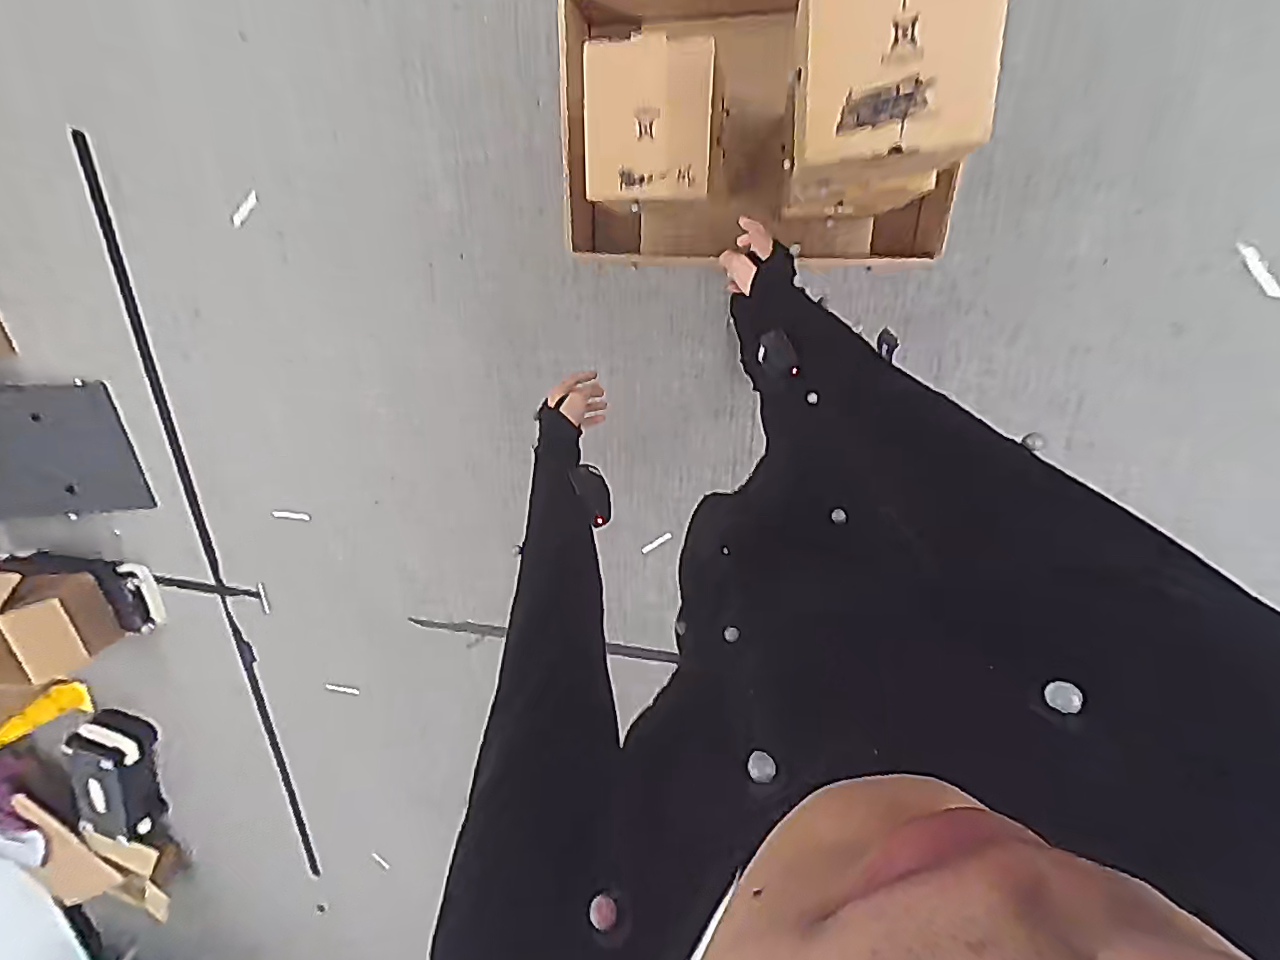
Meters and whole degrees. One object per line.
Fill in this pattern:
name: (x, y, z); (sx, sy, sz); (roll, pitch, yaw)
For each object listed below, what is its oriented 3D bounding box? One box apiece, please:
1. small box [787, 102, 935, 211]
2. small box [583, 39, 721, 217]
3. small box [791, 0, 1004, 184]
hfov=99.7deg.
small box: (0.286, -0.463, 0.712); (0.168, 0.176, 0.179); (2, 112, 11)
small box: (0.023, -0.478, 0.760); (0.168, 0.176, 0.179); (6, 110, 11)
small box: (0.248, -0.417, 0.559); (0.168, 0.176, 0.179); (-1, 110, 12)
